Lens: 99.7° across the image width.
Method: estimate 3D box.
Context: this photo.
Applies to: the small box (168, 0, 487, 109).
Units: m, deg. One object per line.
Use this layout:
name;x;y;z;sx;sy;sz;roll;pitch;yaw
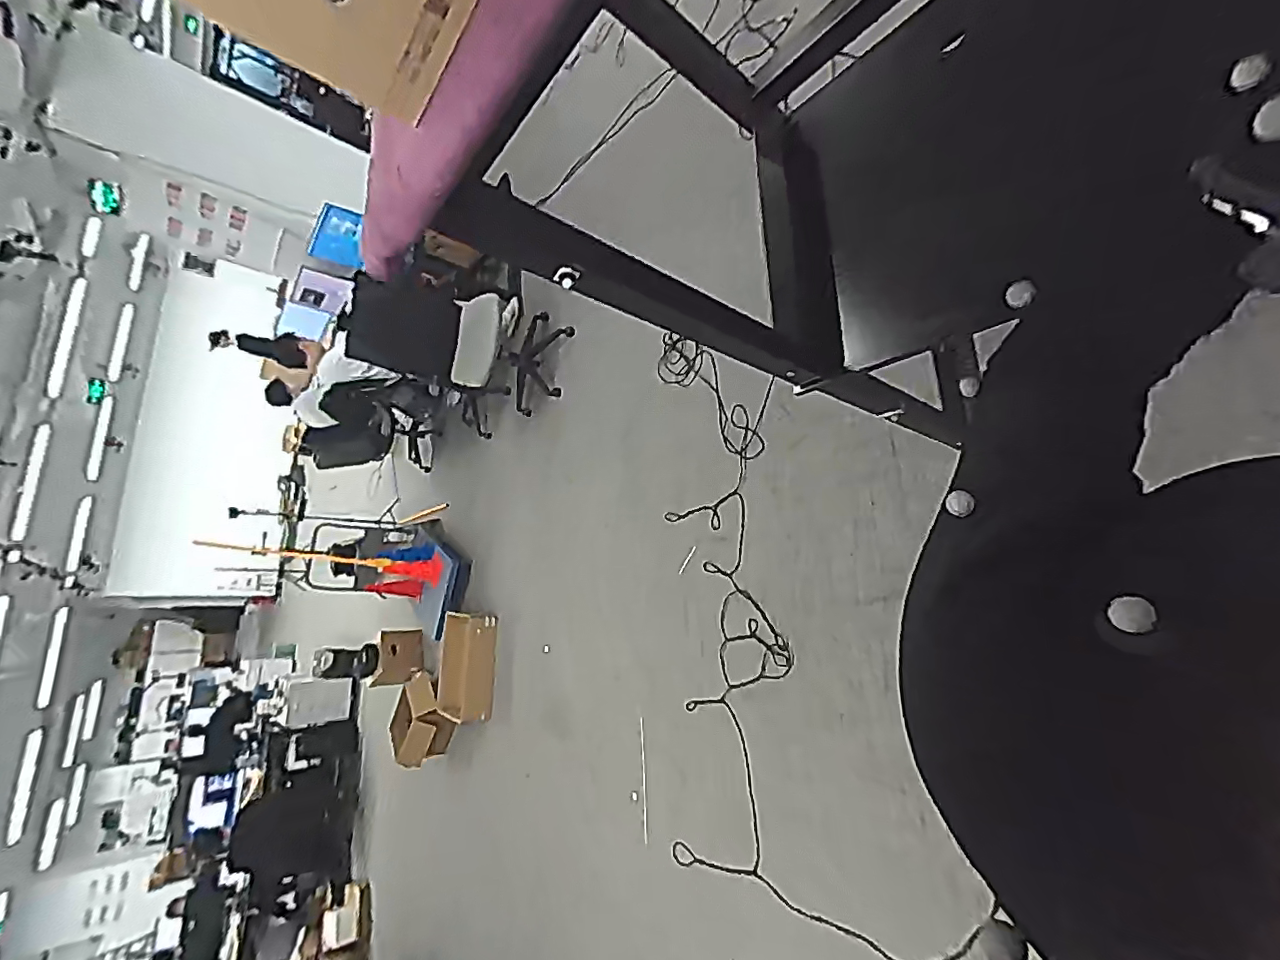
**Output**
small box;-0.200;-0.400;0.367;0.168;0.176;0.179;-20;68;46
